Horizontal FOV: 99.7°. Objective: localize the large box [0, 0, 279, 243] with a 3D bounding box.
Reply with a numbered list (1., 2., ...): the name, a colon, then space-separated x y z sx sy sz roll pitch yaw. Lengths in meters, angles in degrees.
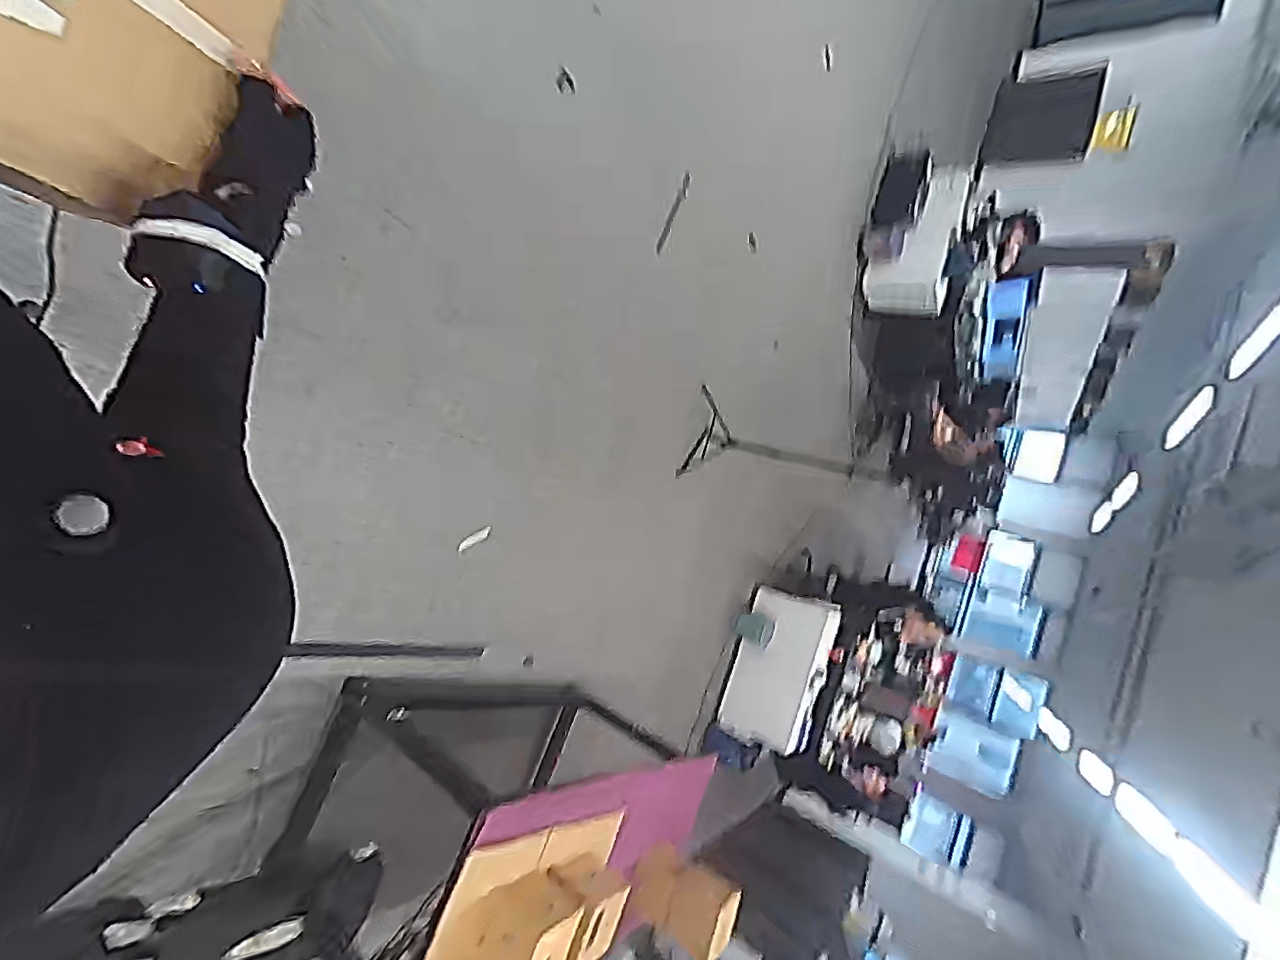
1. large box: -0.553 -0.425 0.367 0.408 0.320 0.320 21 92 -61
